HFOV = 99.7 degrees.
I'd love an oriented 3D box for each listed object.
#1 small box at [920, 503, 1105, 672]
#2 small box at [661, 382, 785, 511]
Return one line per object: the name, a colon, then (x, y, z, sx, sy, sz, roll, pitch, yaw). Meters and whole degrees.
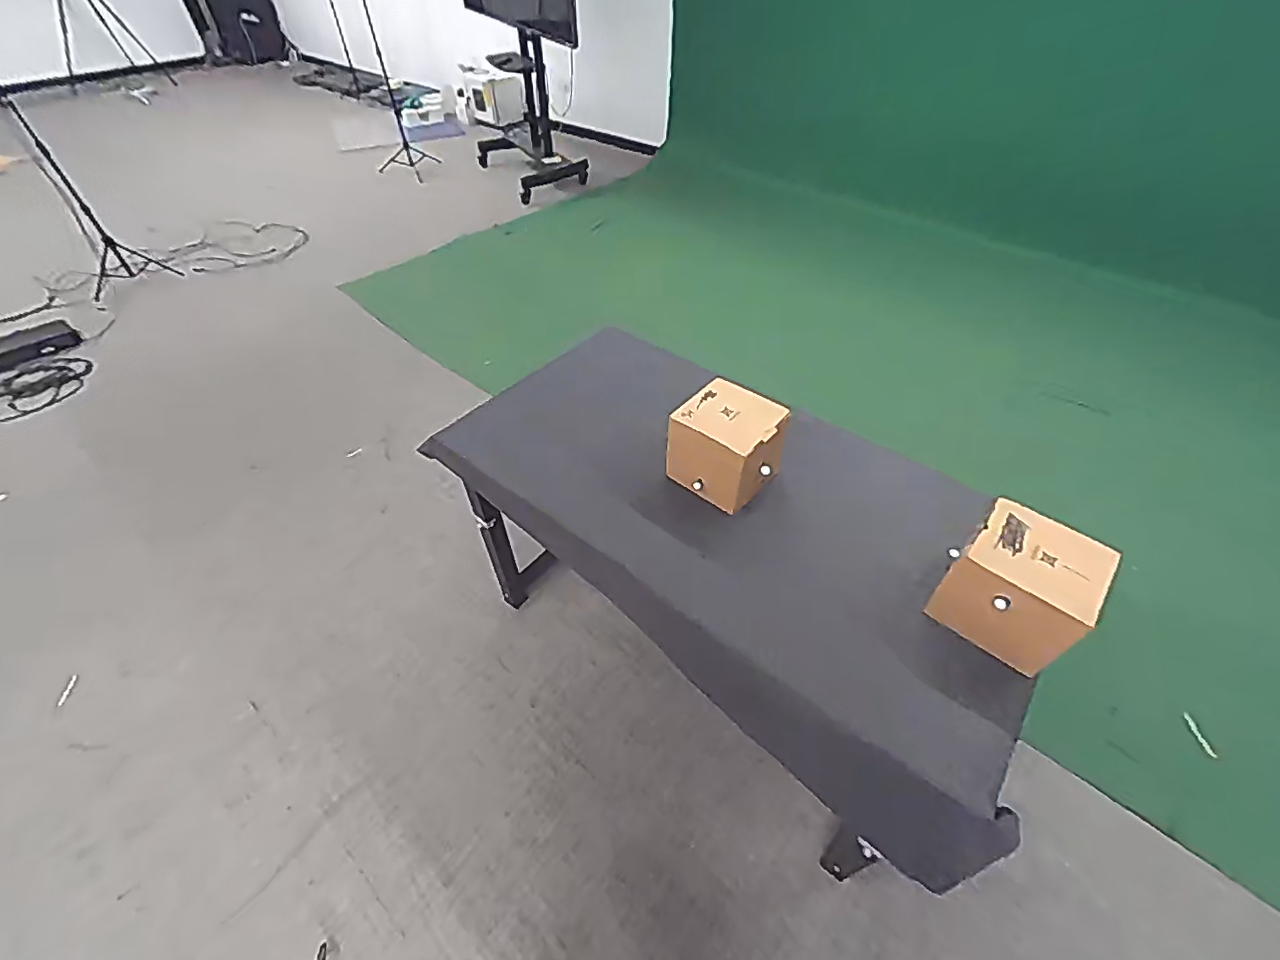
small box: (0.597, 0.177, 0.884, 0.179, 0.176, 0.168, 34, 54, 26)
small box: (0.161, -0.062, 1.094, 0.179, 0.176, 0.168, 33, 52, 24)
